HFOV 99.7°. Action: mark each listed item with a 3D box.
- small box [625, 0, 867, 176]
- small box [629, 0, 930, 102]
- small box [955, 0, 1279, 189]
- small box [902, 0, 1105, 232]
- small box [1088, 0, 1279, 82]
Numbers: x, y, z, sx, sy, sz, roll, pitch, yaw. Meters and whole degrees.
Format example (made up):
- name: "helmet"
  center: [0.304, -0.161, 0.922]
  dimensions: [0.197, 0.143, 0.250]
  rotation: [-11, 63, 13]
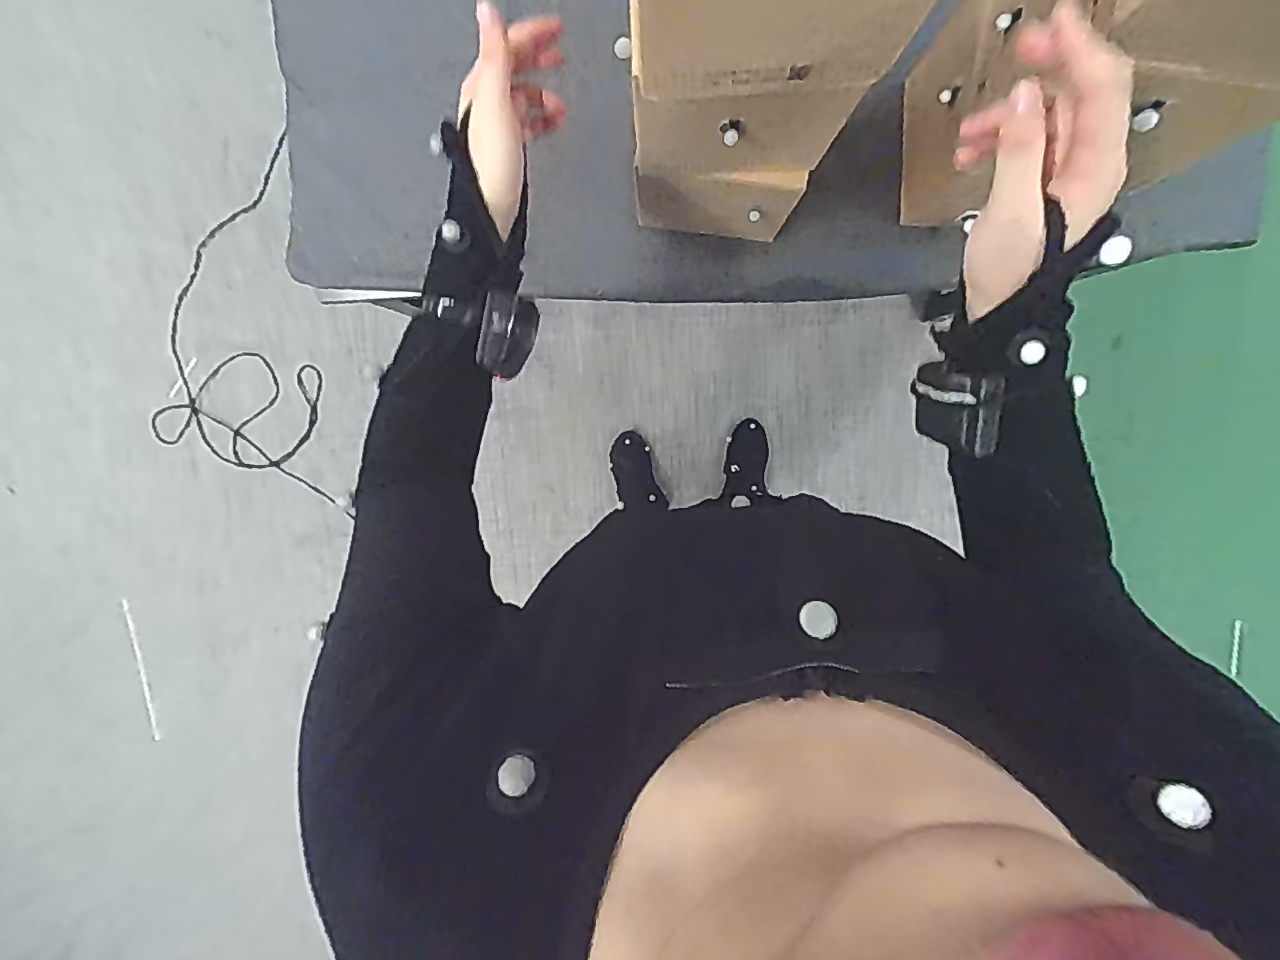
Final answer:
- name: "small box"
  center: [0.079, -0.371, 0.443]
  dimensions: [0.179, 0.176, 0.168]
  rotation: [-1, 97, 3]
- name: "small box"
  center: [0.074, -0.340, 0.282]
  dimensions: [0.168, 0.176, 0.179]
  rotation: [-2, 97, 2]
- name: "small box"
  center: [0.396, -0.357, 0.432]
  dimensions: [0.179, 0.176, 0.168]
  rotation: [10, 98, 3]
- name: "small box"
  center: [0.405, -0.392, 0.591]
  dimensions: [0.168, 0.176, 0.179]
  rotation: [-1, 98, 4]
- name: "small box"
  center: [0.390, -0.338, 0.269]
  dimensions: [0.179, 0.176, 0.168]
  rotation: [11, 97, 3]
